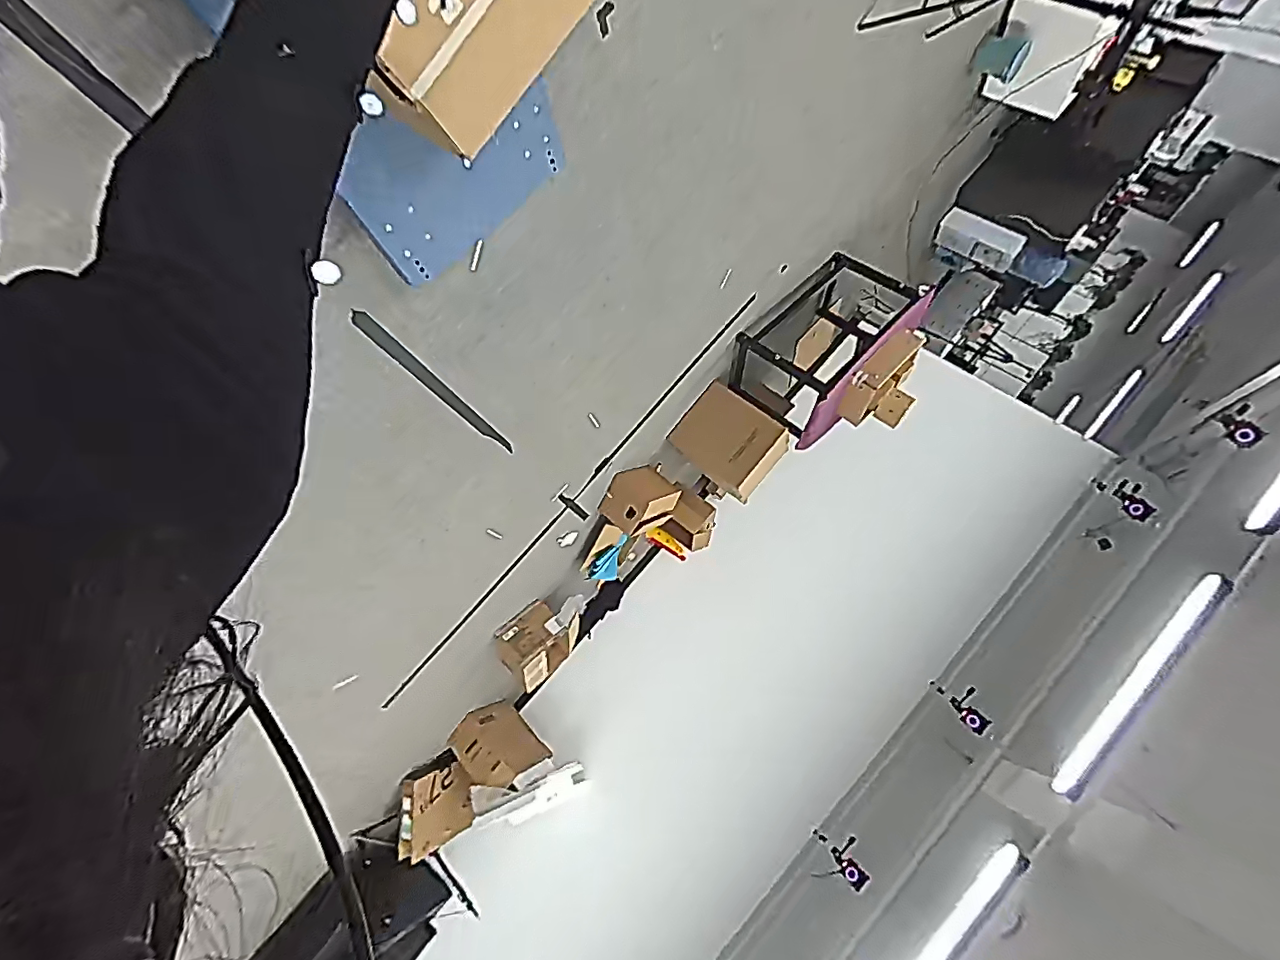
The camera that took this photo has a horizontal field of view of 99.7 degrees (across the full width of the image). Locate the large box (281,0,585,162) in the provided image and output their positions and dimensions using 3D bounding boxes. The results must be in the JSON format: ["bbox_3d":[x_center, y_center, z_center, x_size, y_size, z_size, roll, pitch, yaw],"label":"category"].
[{"bbox_3d":[-0.371,-0.879,0.937,0.408,0.320,0.320,-50,158,3],"label":"large box"}]
